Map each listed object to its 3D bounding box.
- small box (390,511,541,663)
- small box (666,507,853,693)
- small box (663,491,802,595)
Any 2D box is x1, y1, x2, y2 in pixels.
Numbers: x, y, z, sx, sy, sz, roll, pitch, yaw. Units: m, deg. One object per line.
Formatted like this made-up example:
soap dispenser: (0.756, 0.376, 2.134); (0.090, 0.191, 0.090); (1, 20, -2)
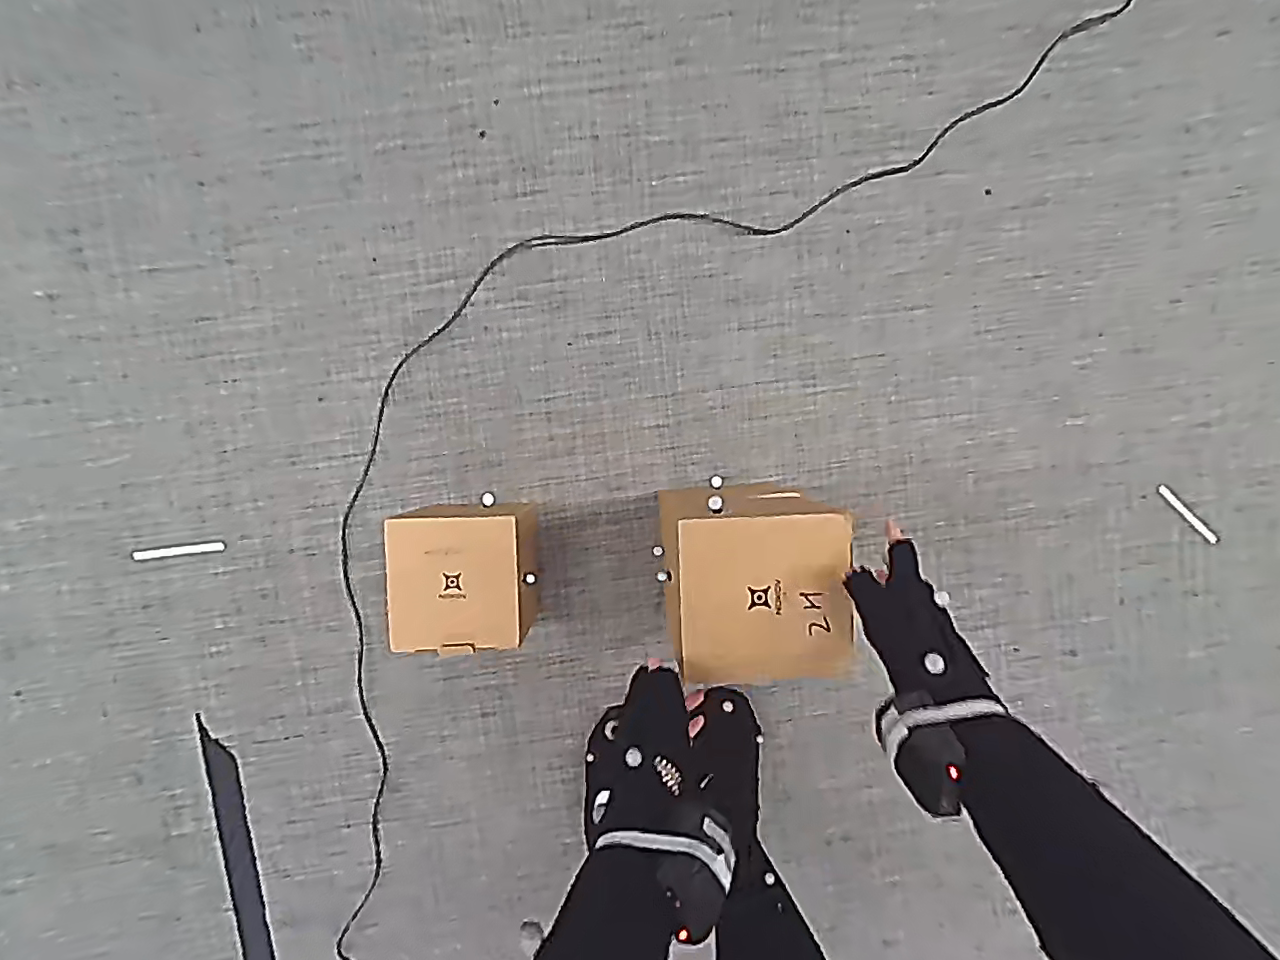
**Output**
small box: (-0.236, 0.142, 0.768); (0.168, 0.176, 0.179); (-1, 93, -3)
small box: (0.122, 0.122, 0.613); (0.179, 0.176, 0.168); (-2, 94, -3)
small box: (0.125, 0.108, 0.778); (0.179, 0.176, 0.168); (-4, 94, -2)
